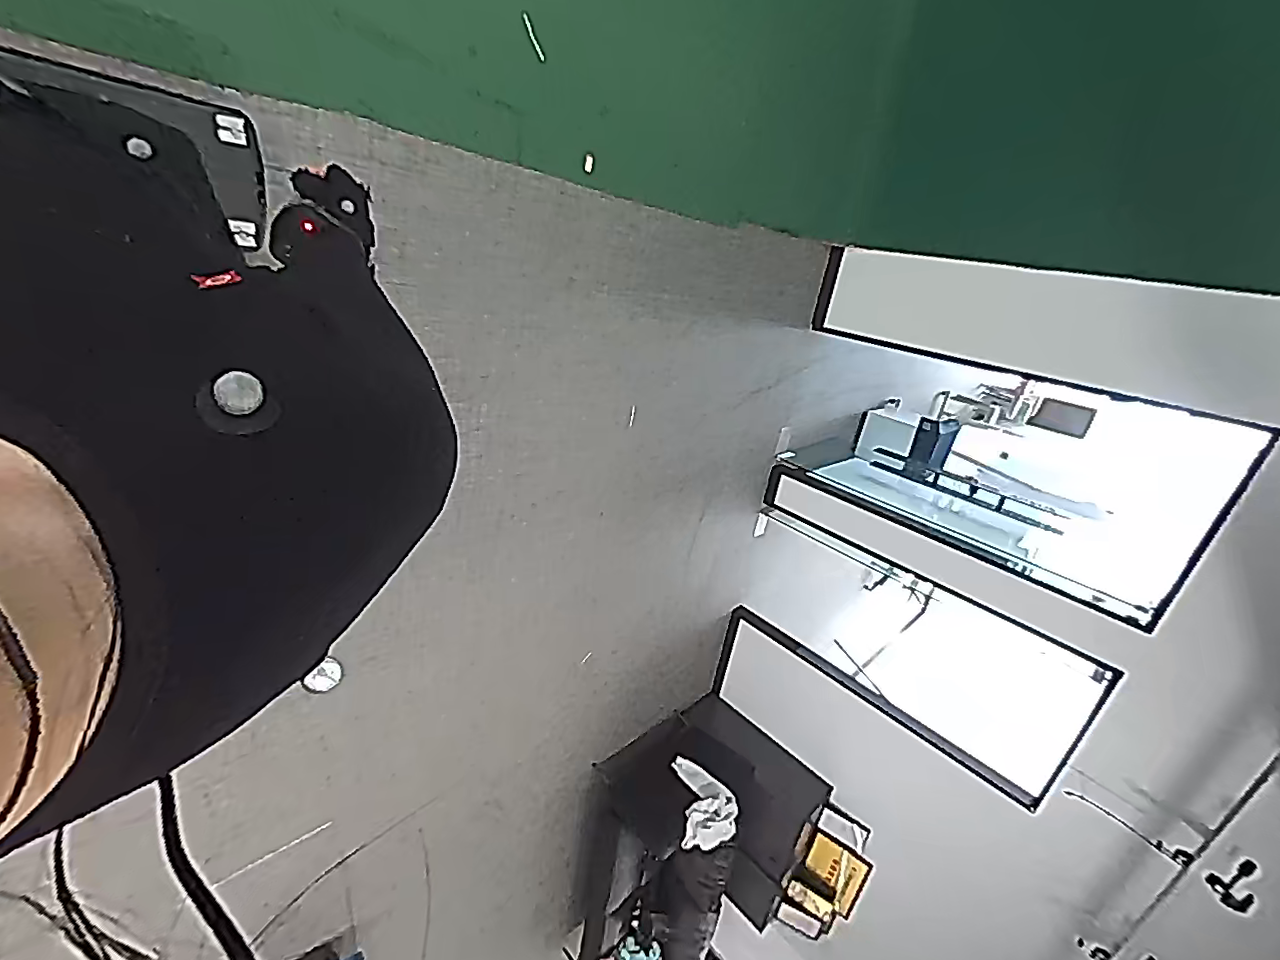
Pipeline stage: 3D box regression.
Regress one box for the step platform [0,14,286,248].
[{"bbox_3d":[-0.968,-0.560,0.835,0.684,0.204,0.286,-12,122,-43],"label":"step platform"}]
